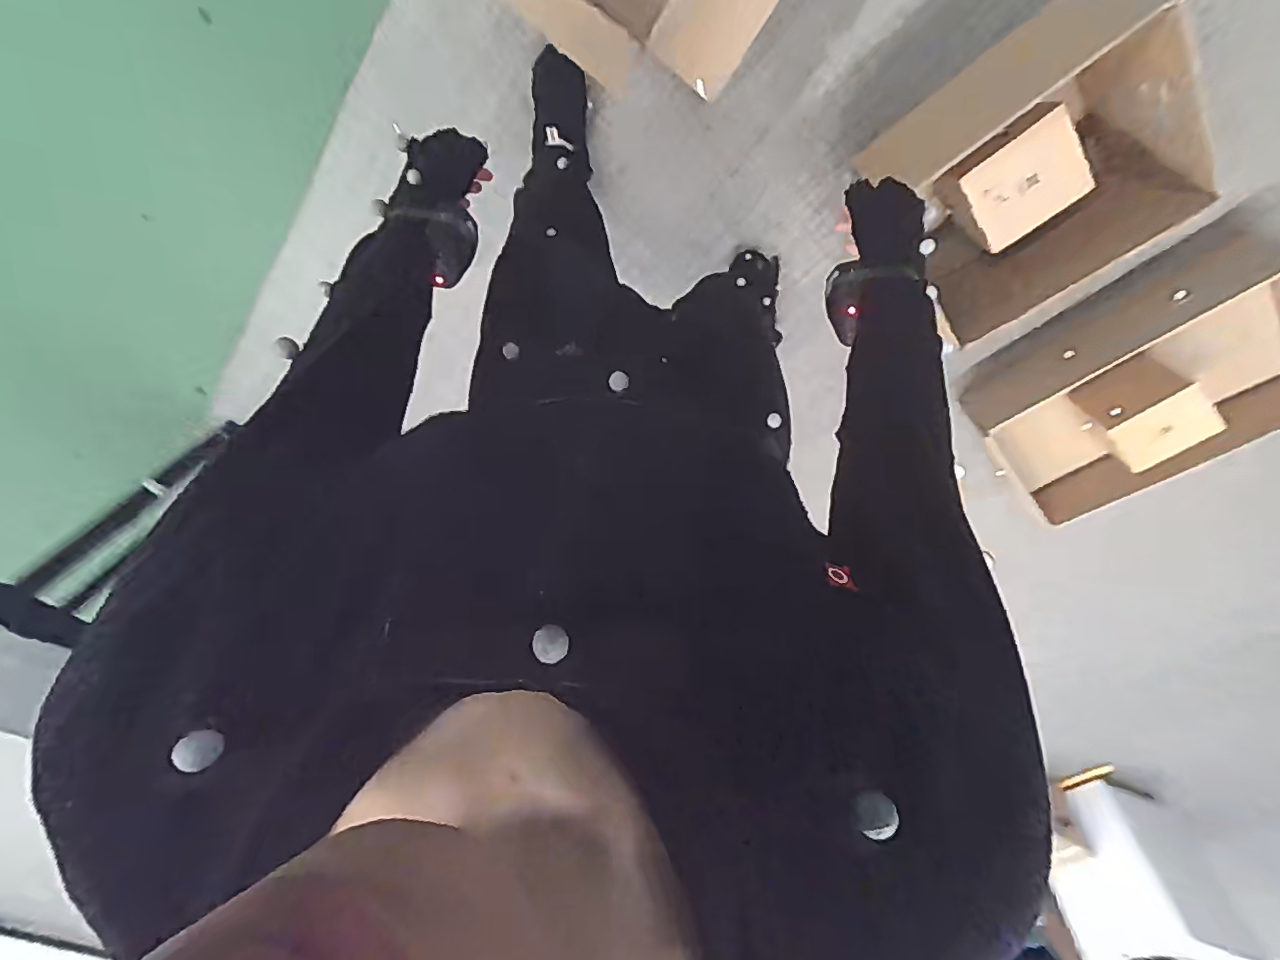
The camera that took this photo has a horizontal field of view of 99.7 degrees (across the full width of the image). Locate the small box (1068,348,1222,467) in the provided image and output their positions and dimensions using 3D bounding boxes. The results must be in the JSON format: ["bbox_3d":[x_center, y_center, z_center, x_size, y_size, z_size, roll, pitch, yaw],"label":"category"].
[{"bbox_3d":[1.151,-0.171,1.246,0.168,0.176,0.179,37,122,-21],"label":"small box"}]
